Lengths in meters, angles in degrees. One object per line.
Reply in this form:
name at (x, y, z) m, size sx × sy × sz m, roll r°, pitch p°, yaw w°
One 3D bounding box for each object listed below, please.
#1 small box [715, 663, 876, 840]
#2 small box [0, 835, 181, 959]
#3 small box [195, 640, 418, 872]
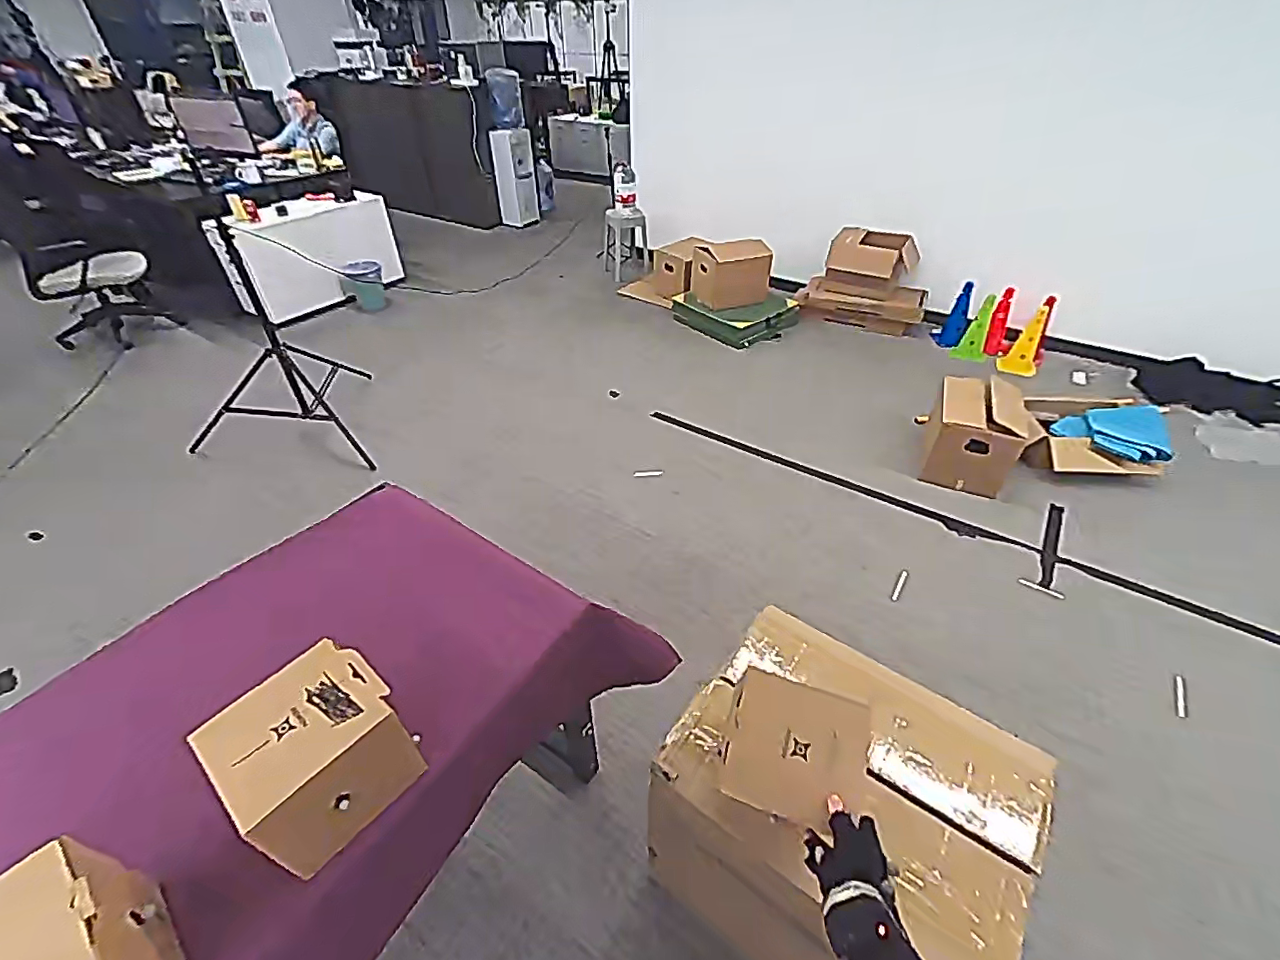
small box at (0.212, 0.385, 0.776) m, size 0.179 × 0.176 × 0.168 m, roll 16°, pitch 65°, yaw 13°
small box at (-0.589, 0.505, 0.524) m, size 0.168 × 0.176 × 0.179 m, roll 29°, pitch 47°, yaw 31°
small box at (-0.414, 0.354, 0.703) m, size 0.168 × 0.176 × 0.179 m, roll 28°, pitch 48°, yaw 30°
